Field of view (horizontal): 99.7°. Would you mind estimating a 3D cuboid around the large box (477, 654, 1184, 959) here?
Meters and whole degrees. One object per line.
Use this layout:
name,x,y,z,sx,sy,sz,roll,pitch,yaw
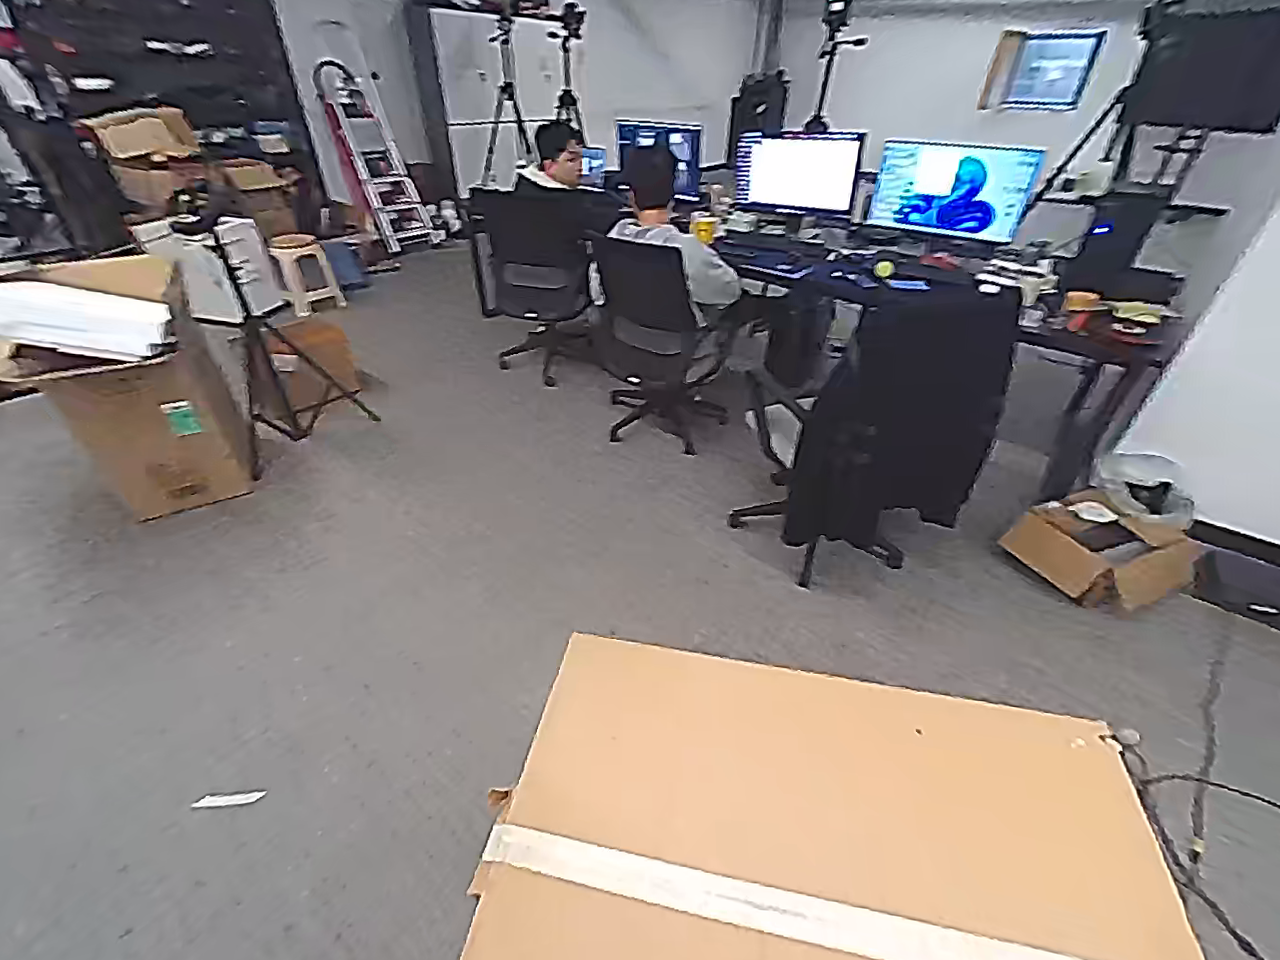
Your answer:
large box,0.110,0.375,0.422,0.408,0.320,0.320,6,44,9
